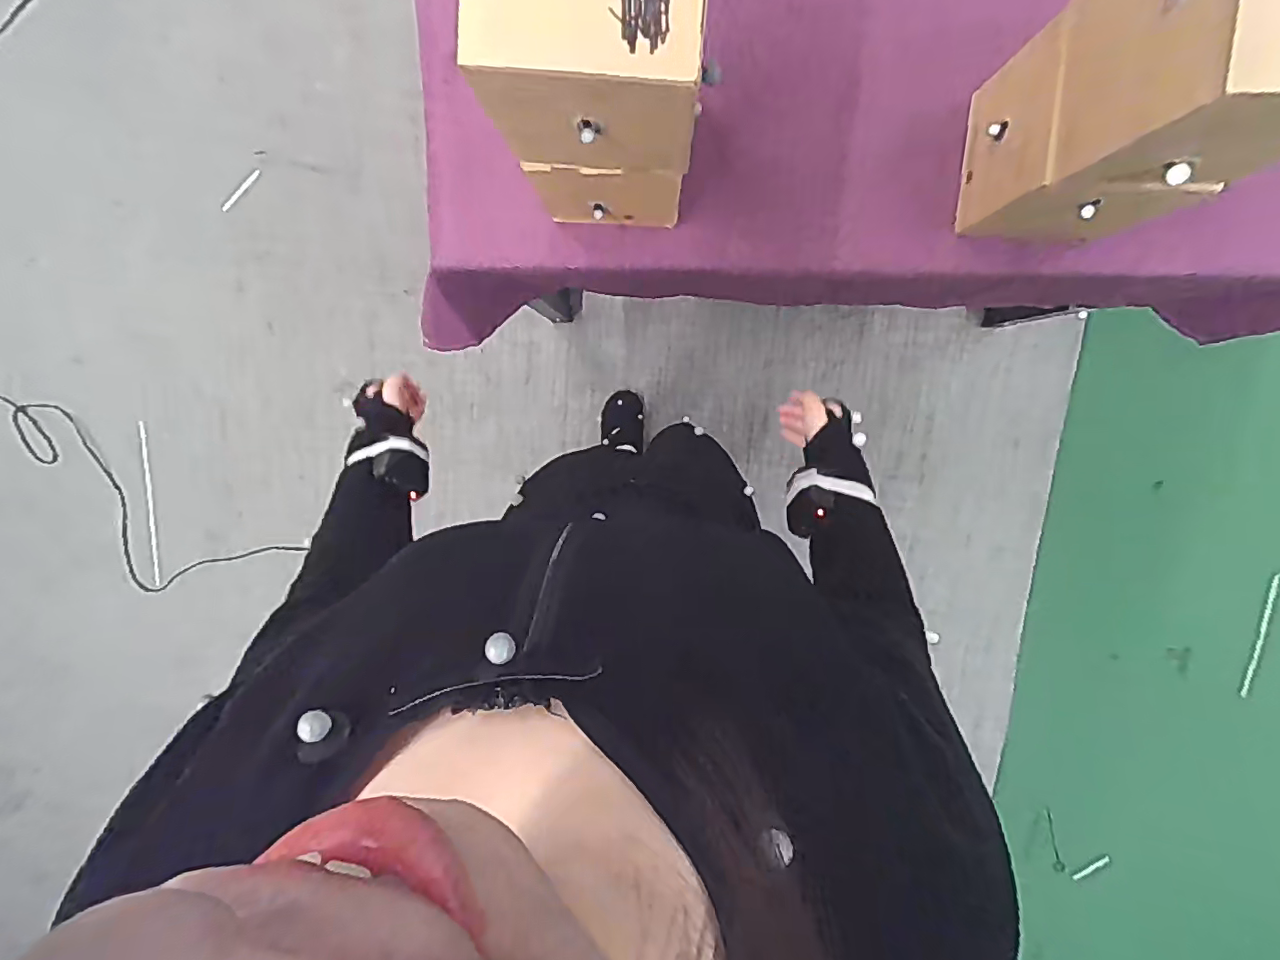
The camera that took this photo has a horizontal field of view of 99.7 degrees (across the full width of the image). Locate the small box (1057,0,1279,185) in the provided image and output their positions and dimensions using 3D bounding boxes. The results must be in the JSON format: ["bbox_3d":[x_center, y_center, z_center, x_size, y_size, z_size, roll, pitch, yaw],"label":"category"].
[{"bbox_3d":[0.481,-0.363,0.435,0.168,0.176,0.179,1,100,2],"label":"small box"}]

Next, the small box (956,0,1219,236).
[{"bbox_3d":[0.486,-0.381,0.598,0.179,0.176,0.168,4,100,1],"label":"small box"}]

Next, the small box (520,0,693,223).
[{"bbox_3d":[-0.034,-0.412,0.611,0.168,0.176,0.179,3,100,1],"label":"small box"}]
